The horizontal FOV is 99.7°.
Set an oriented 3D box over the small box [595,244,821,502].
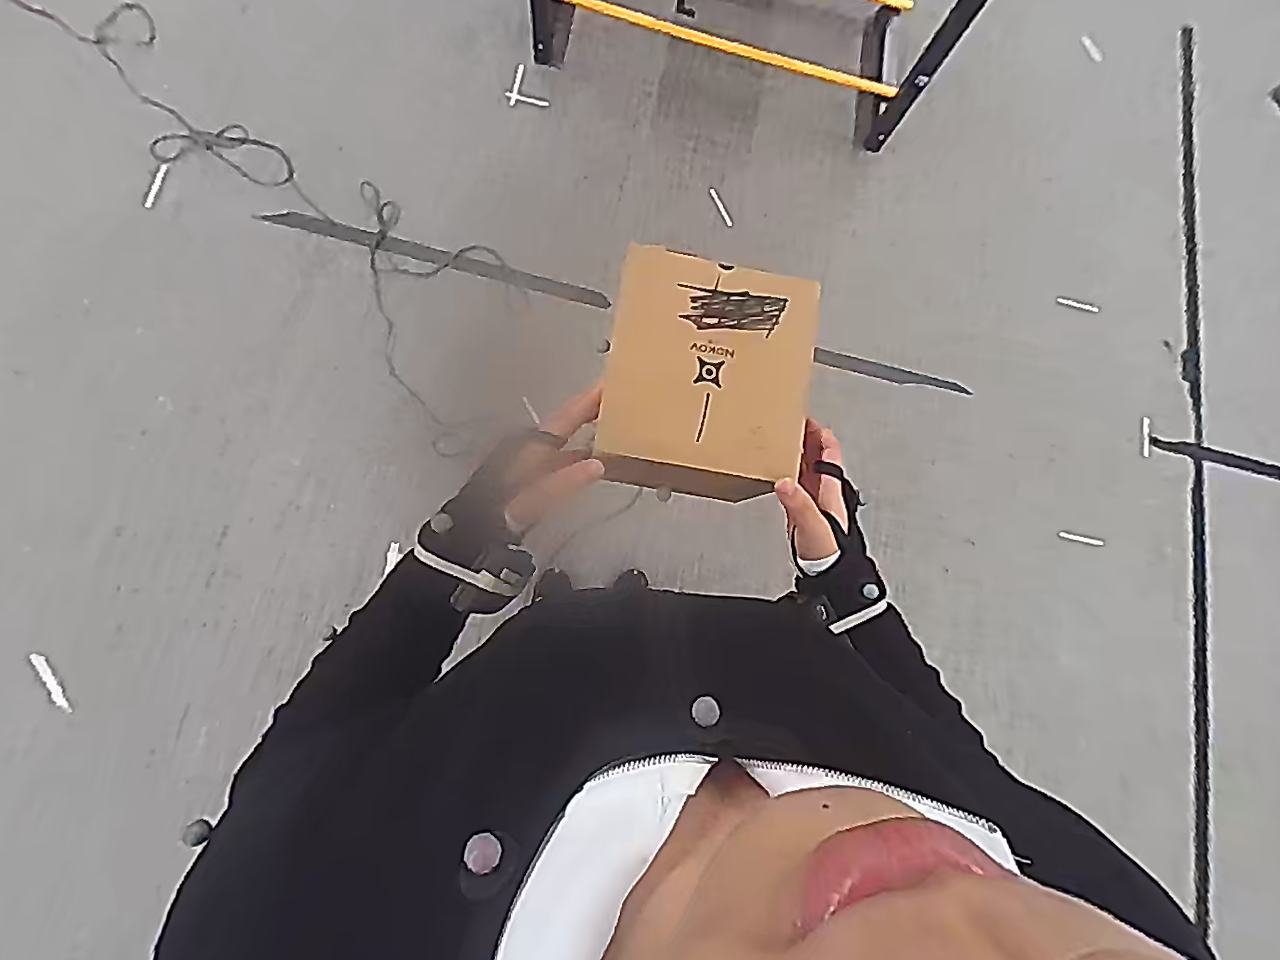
[{"bbox_3d":[0.051,-0.084,0.511,0.168,0.176,0.179,9,82,-5],"label":"small box"}]
